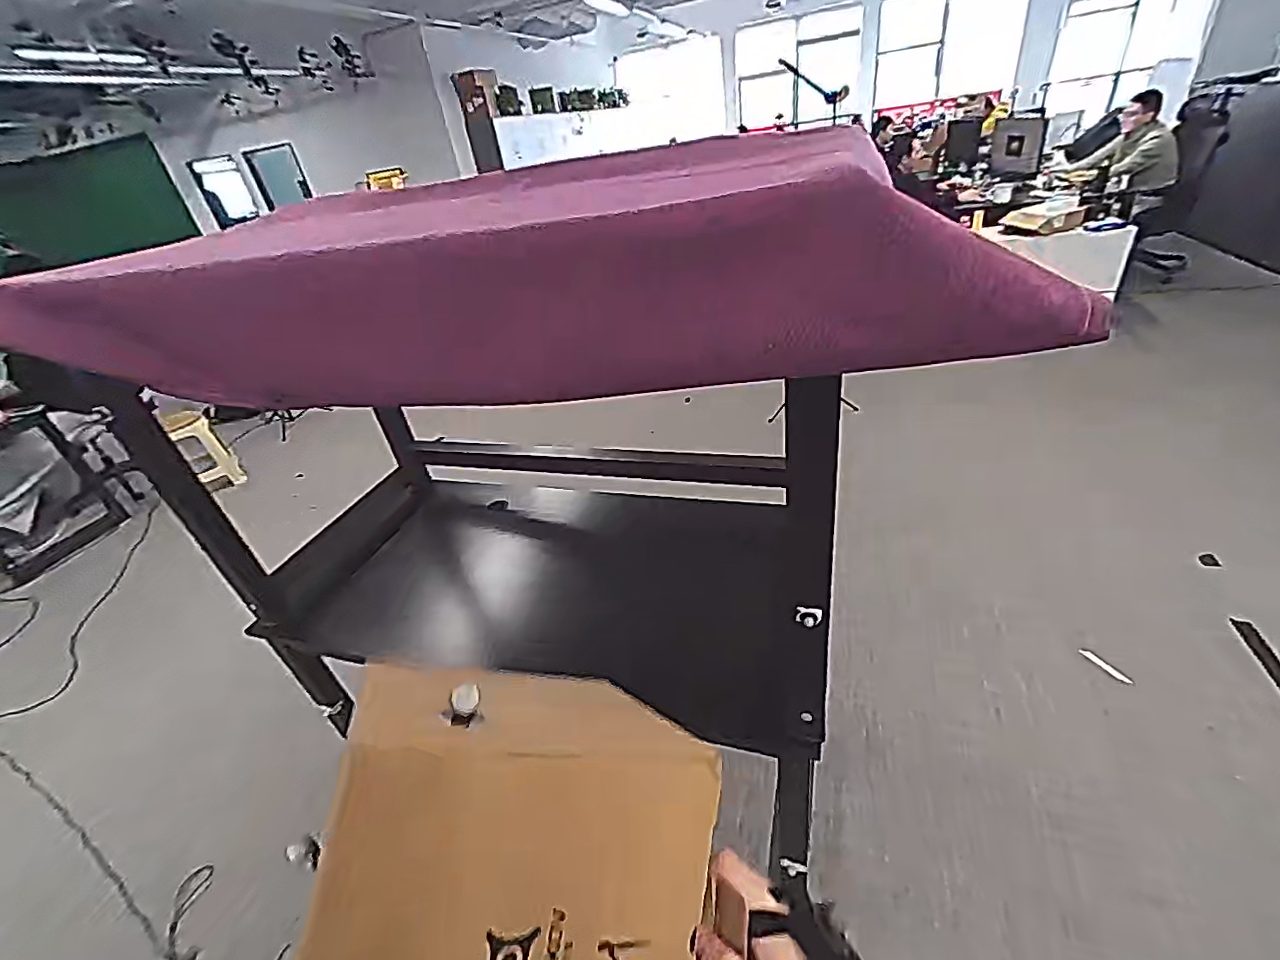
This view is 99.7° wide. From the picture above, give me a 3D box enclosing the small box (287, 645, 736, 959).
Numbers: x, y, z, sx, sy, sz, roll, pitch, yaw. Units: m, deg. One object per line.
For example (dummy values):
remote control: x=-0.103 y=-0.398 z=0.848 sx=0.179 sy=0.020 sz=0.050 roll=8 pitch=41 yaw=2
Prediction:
small box: x=-0.076 y=0.193 z=0.294 sx=0.179 sy=0.168 sz=0.176 roll=15 pitch=-12 yaw=-23
